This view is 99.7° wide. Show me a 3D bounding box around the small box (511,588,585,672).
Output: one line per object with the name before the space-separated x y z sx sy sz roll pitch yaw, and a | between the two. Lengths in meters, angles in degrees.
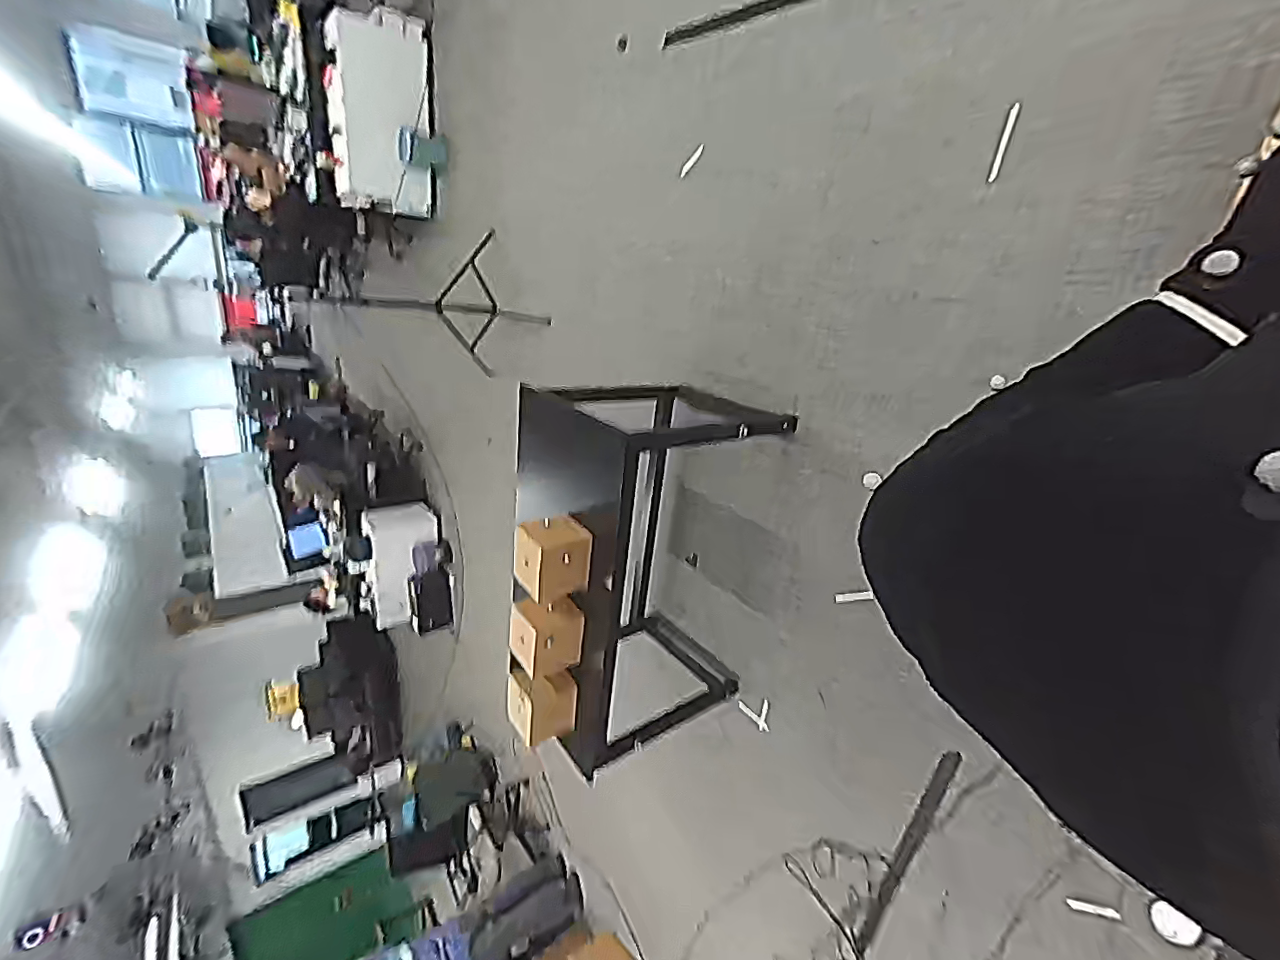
small box | -0.288 0.457 1.696 0.168 0.176 0.179 33 123 45

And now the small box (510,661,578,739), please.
small box | -0.318 0.710 1.796 0.168 0.176 0.179 28 120 47

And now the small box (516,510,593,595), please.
small box | -0.251 0.206 1.593 0.168 0.176 0.179 32 124 46
